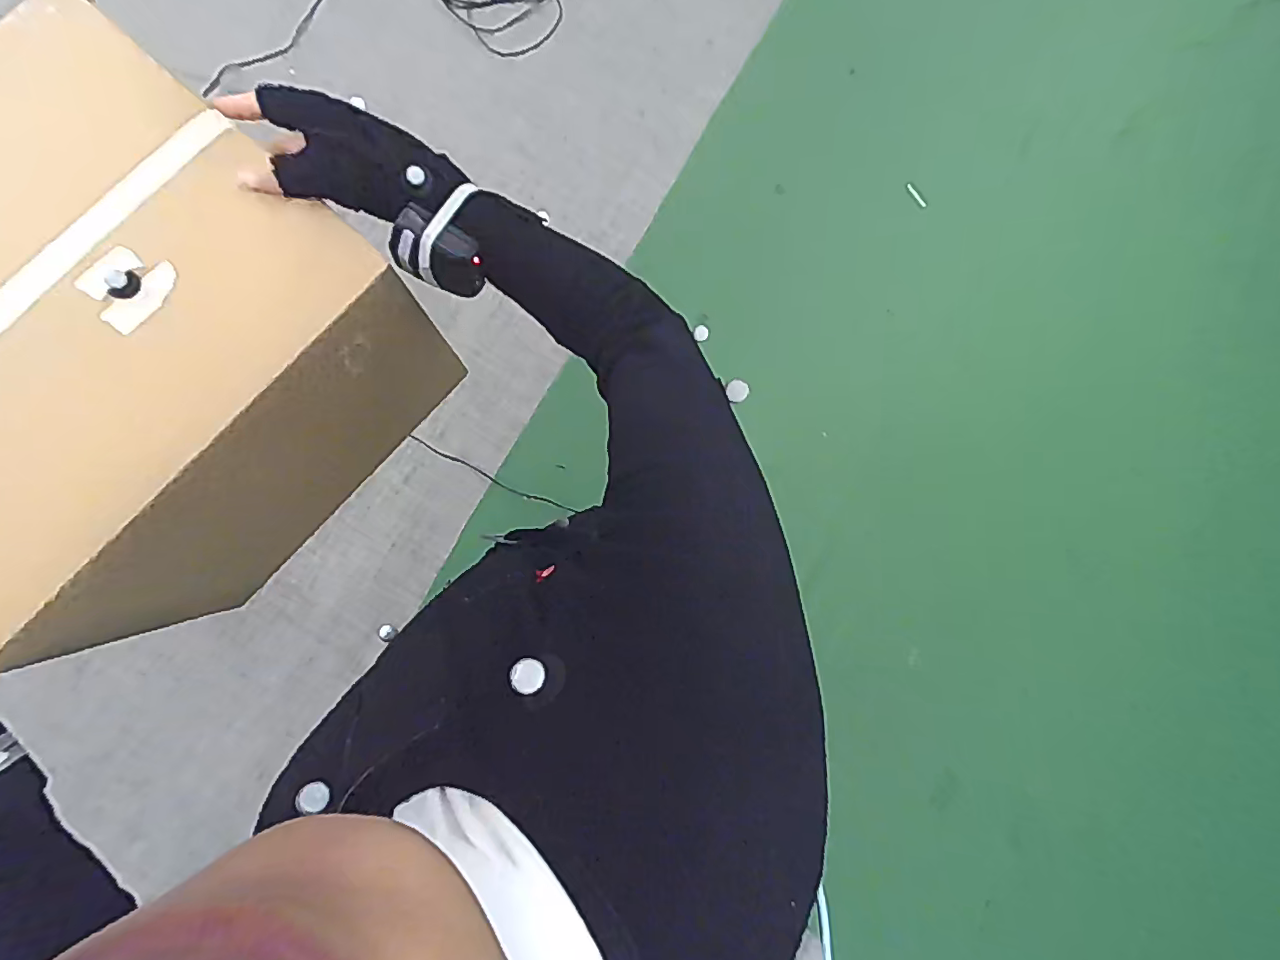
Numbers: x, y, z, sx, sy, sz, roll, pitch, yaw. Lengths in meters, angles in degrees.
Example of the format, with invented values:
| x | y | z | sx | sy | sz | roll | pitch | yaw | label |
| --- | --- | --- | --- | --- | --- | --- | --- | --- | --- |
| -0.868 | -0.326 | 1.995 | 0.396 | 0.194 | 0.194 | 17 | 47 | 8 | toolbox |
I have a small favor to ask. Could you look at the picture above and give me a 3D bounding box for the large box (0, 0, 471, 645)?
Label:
| x | y | z | sx | sy | sz | roll | pitch | yaw | label |
| --- | --- | --- | --- | --- | --- | --- | --- | --- | --- |
| -0.443 | -0.117 | 0.541 | 0.320 | 0.320 | 0.408 | 41 | 82 | -3 | large box |
